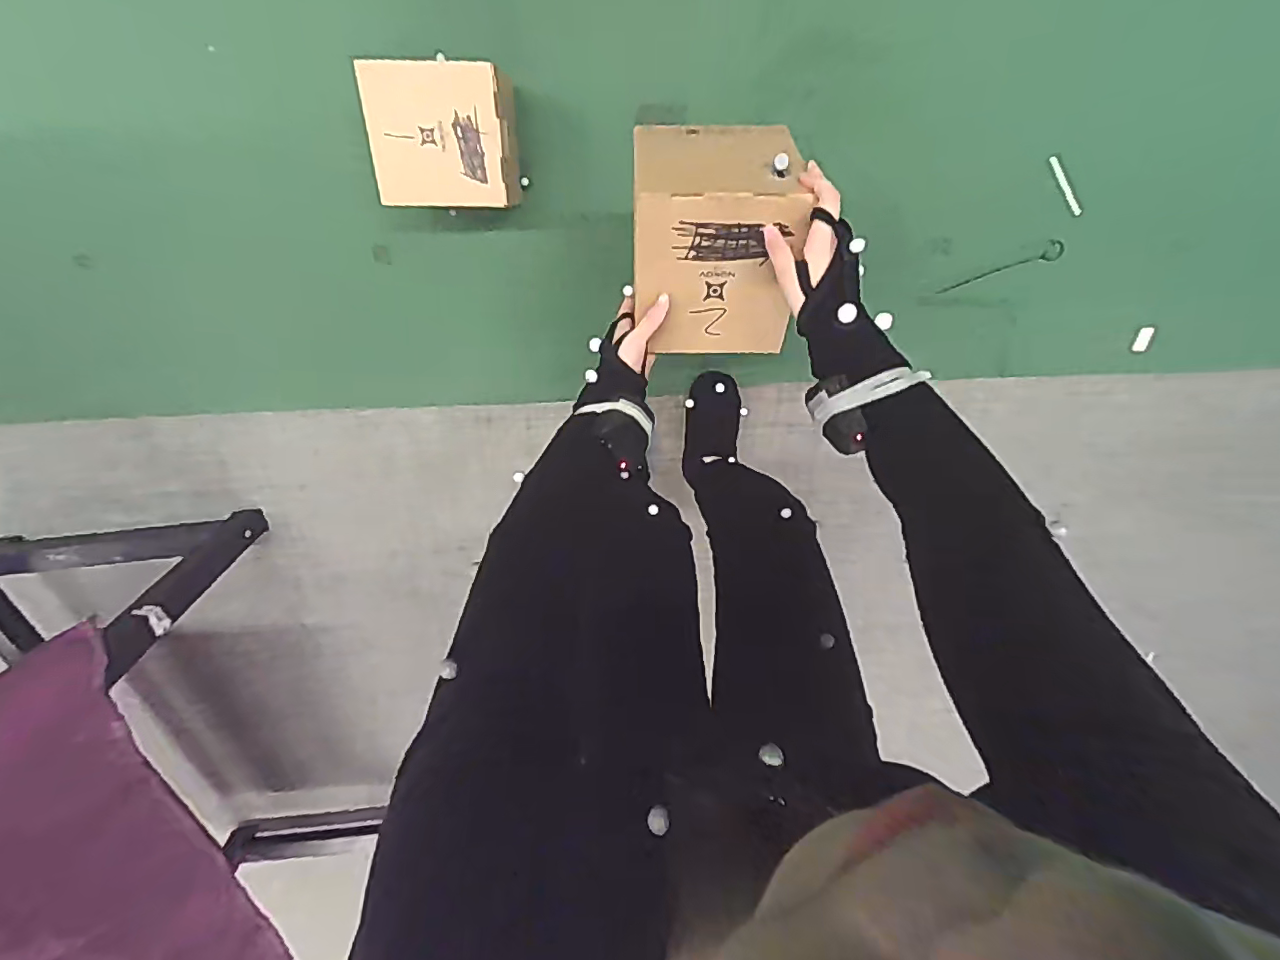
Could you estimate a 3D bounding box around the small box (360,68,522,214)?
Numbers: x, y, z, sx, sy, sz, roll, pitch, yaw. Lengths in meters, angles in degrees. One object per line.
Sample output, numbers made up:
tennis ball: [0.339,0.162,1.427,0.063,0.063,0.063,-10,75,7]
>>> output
small box: [-0.273,-0.488,0.795,0.179,0.176,0.168,0,118,-1]
